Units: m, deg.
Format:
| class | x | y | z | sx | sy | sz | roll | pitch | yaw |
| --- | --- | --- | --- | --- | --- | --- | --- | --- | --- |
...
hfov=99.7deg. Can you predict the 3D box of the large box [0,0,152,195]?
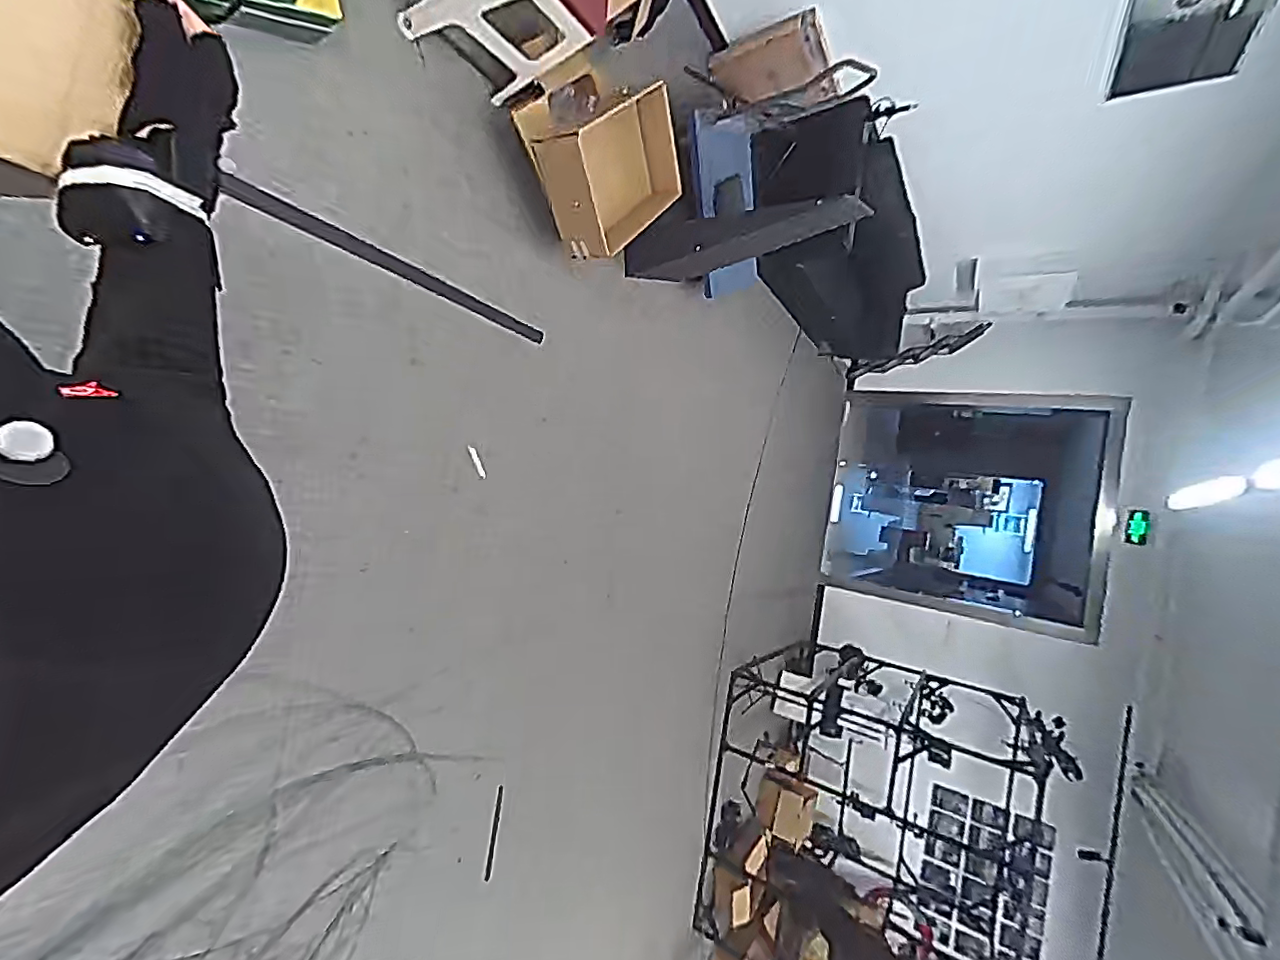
| class | x | y | z | sx | sy | sz | roll | pitch | yaw |
| --- | --- | --- | --- | --- | --- | --- | --- | --- | --- |
| large box | -0.609 | -0.423 | 0.320 | 0.408 | 0.320 | 0.320 | 7 | 100 | -64 |
